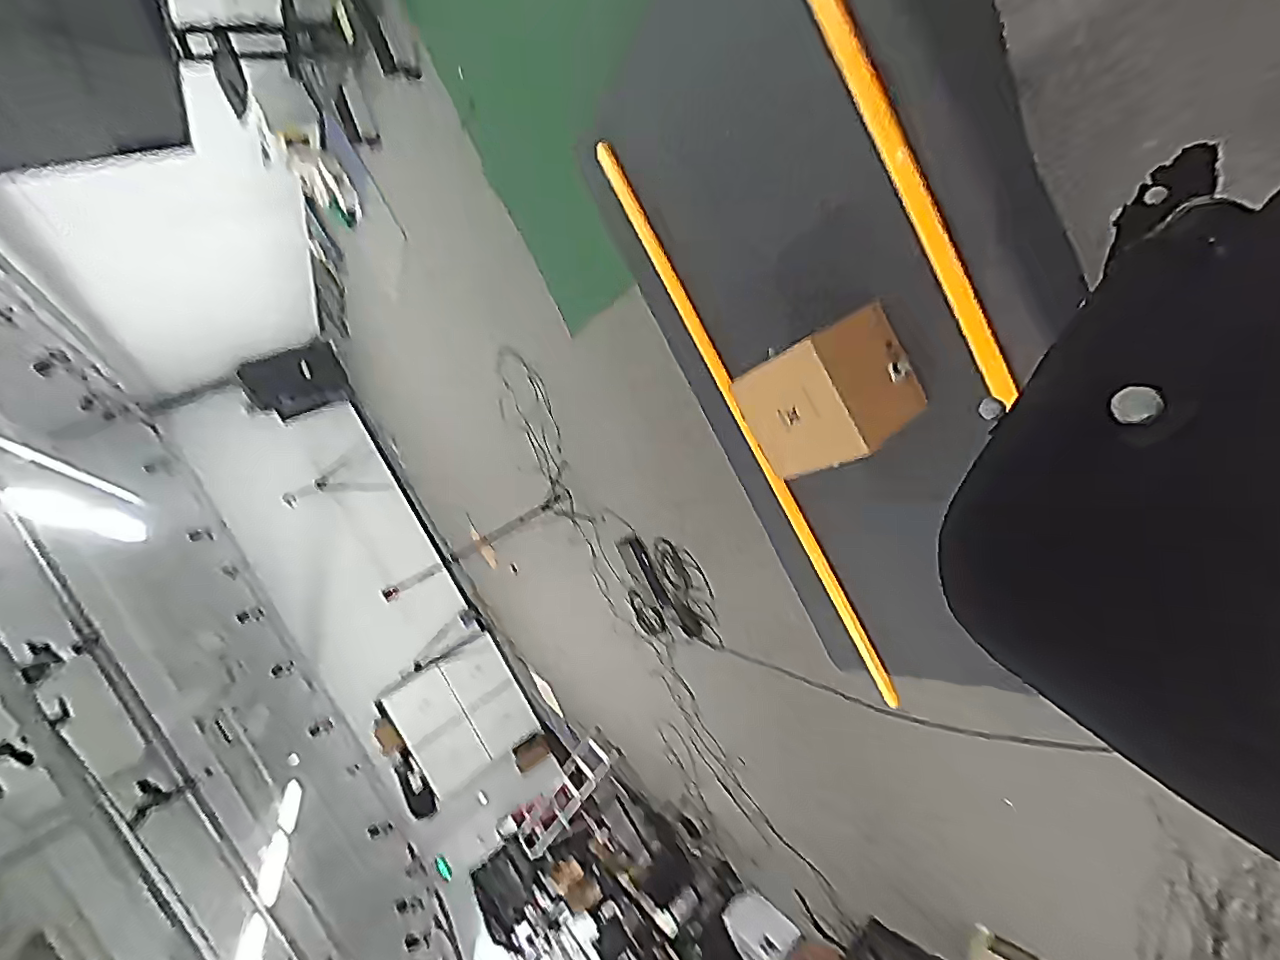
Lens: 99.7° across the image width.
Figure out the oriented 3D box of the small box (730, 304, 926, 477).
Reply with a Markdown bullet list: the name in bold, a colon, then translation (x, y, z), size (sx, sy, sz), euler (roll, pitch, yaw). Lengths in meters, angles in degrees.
- **small box**: translation (0.273, -0.128, 0.793), size (0.168, 0.176, 0.179), euler (59, 150, -3)
